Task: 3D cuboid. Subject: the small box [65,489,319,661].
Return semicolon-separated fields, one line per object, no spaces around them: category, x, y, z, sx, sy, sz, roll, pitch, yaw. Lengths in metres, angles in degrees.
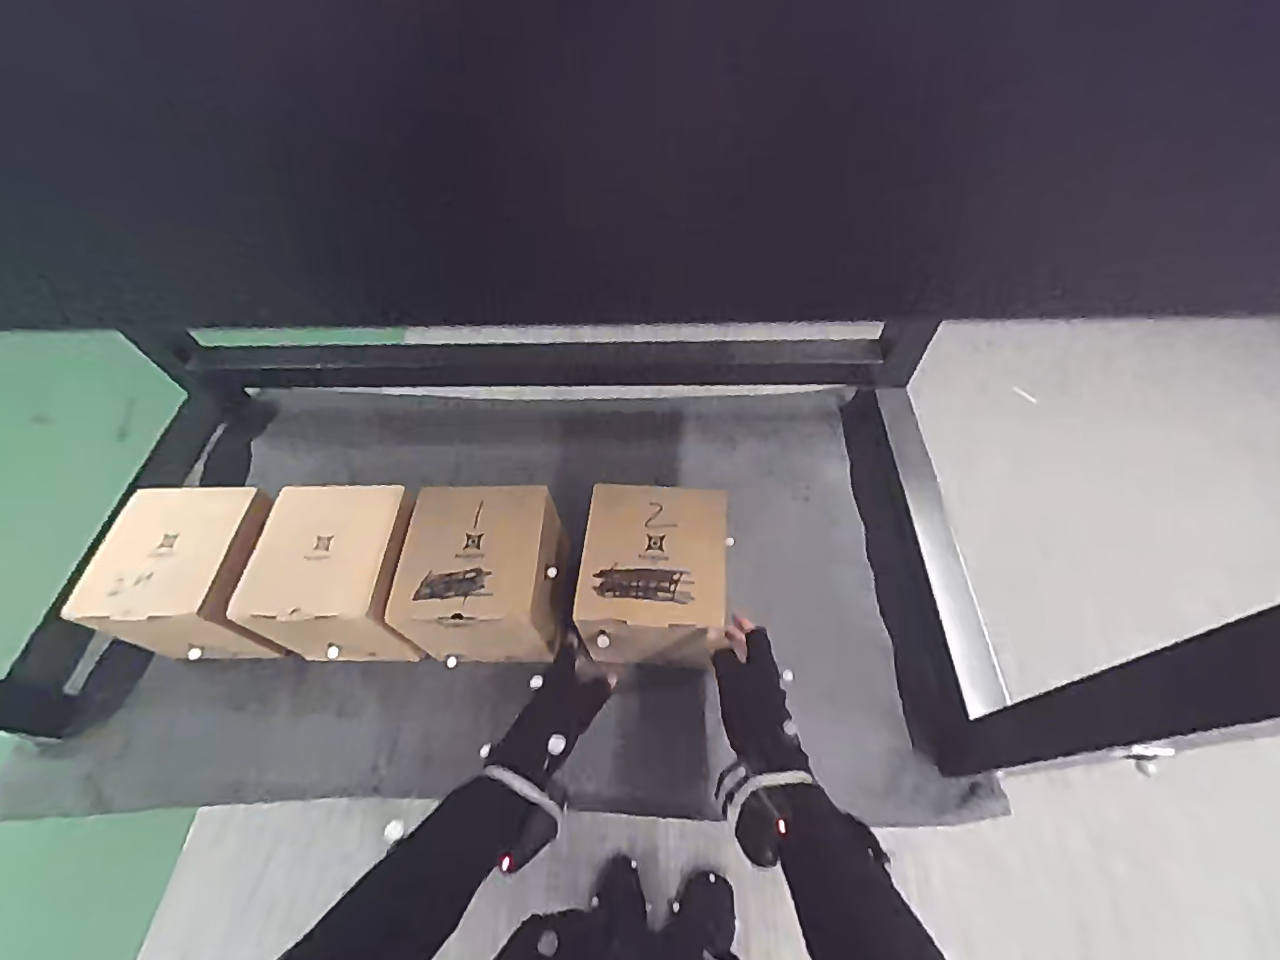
small box;-0.568;0.129;0.722;0.168;0.176;0.179;-1;56;3
